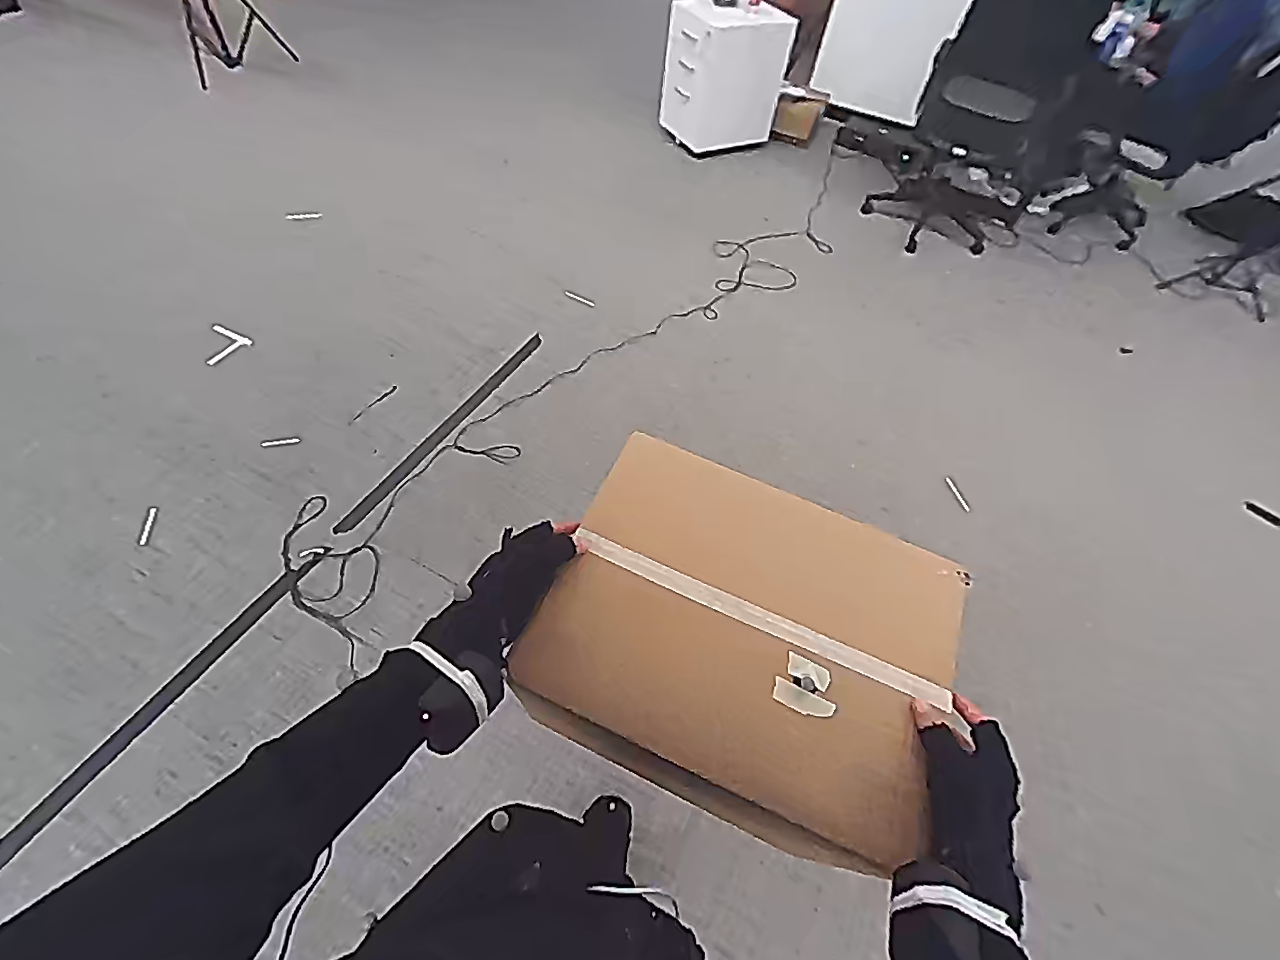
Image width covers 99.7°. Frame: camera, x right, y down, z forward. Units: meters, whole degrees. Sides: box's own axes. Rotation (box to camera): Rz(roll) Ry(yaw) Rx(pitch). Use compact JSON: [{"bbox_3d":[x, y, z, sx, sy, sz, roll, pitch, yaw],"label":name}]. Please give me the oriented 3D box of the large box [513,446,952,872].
[{"bbox_3d":[0.100,0.222,0.692,0.408,0.320,0.320,24,61,8],"label":"large box"}]
